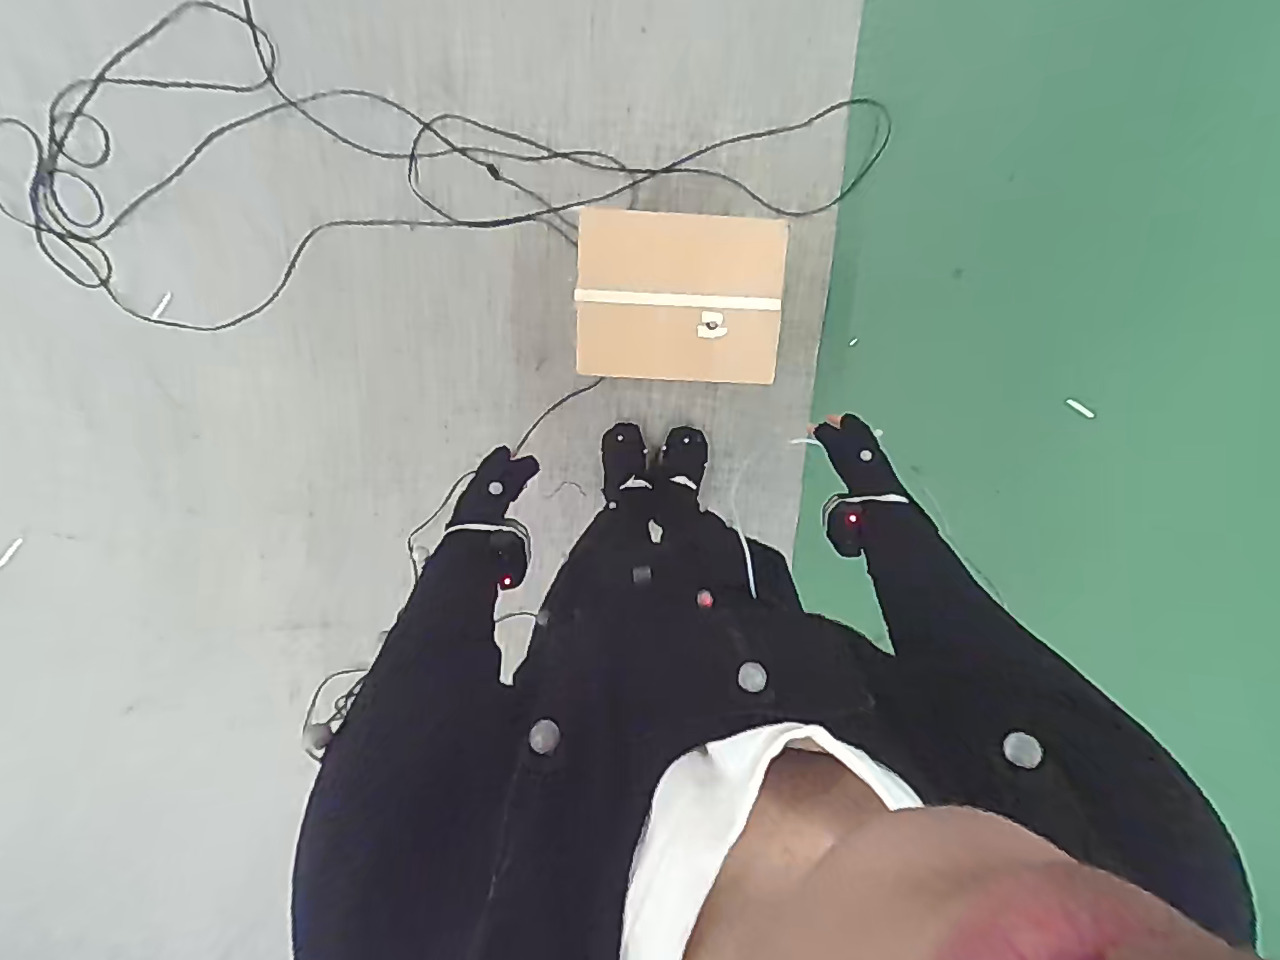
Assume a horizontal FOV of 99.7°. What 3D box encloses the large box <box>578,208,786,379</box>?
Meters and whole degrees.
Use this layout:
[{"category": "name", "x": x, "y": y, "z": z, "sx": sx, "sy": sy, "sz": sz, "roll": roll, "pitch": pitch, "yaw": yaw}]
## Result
[{"category": "large box", "x": 0.072, "y": -0.394, "z": 1.206, "sx": 0.408, "sy": 0.320, "sz": 0.320, "roll": 2, "pitch": 104, "yaw": -2}]
